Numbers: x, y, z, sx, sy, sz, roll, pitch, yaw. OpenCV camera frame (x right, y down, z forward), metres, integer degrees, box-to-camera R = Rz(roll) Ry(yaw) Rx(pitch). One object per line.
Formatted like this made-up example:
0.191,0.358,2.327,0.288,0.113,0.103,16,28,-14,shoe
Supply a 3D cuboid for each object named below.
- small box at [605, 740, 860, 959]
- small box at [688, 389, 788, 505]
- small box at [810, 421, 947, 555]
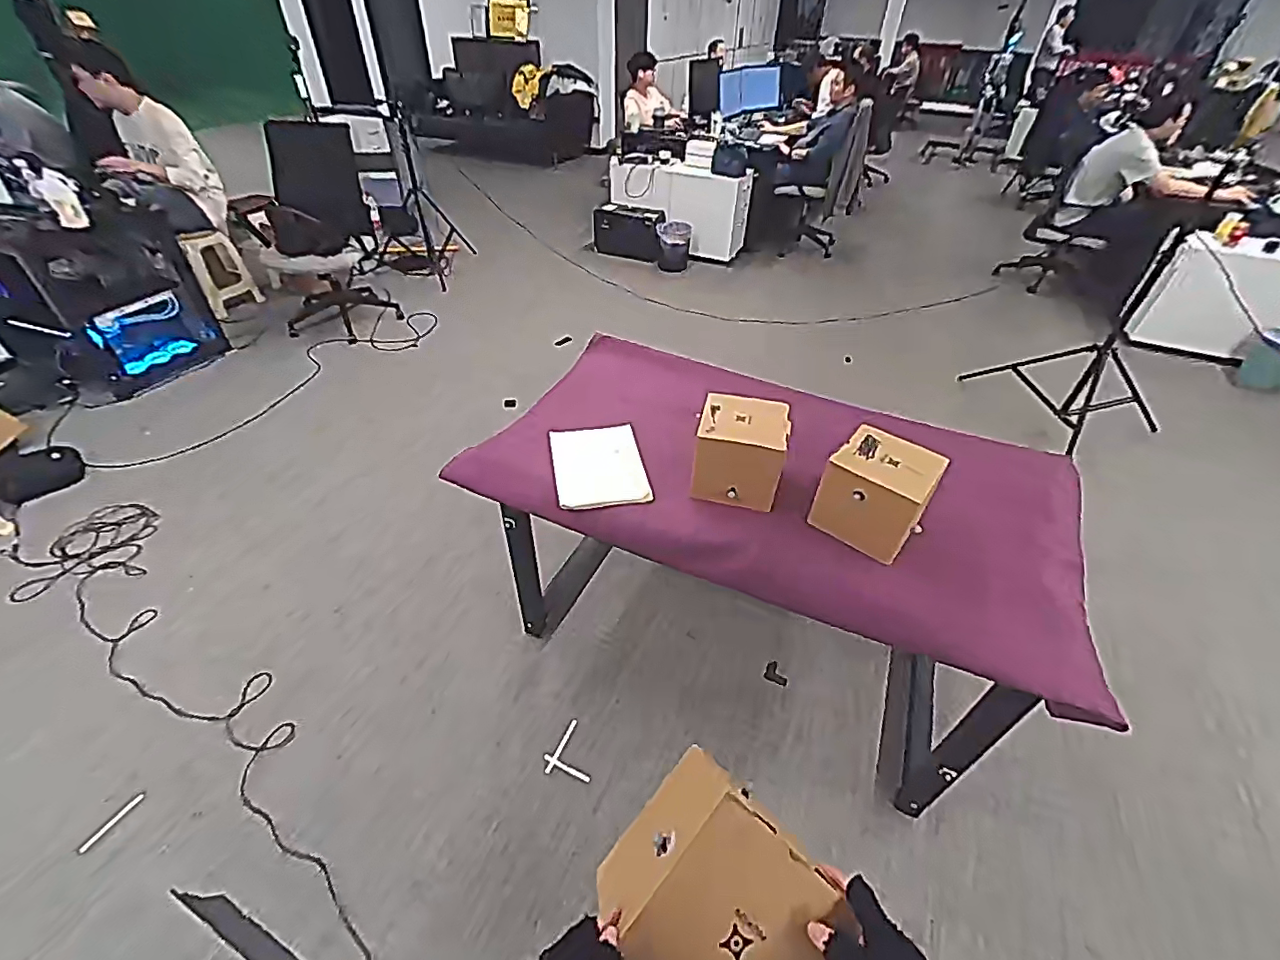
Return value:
0.076,0.400,0.548,0.168,0.176,0.179,41,76,5,small box
0.207,-0.068,1.151,0.179,0.176,0.168,11,41,9,small box
0.460,0.015,1.064,0.179,0.176,0.168,31,48,28,small box
